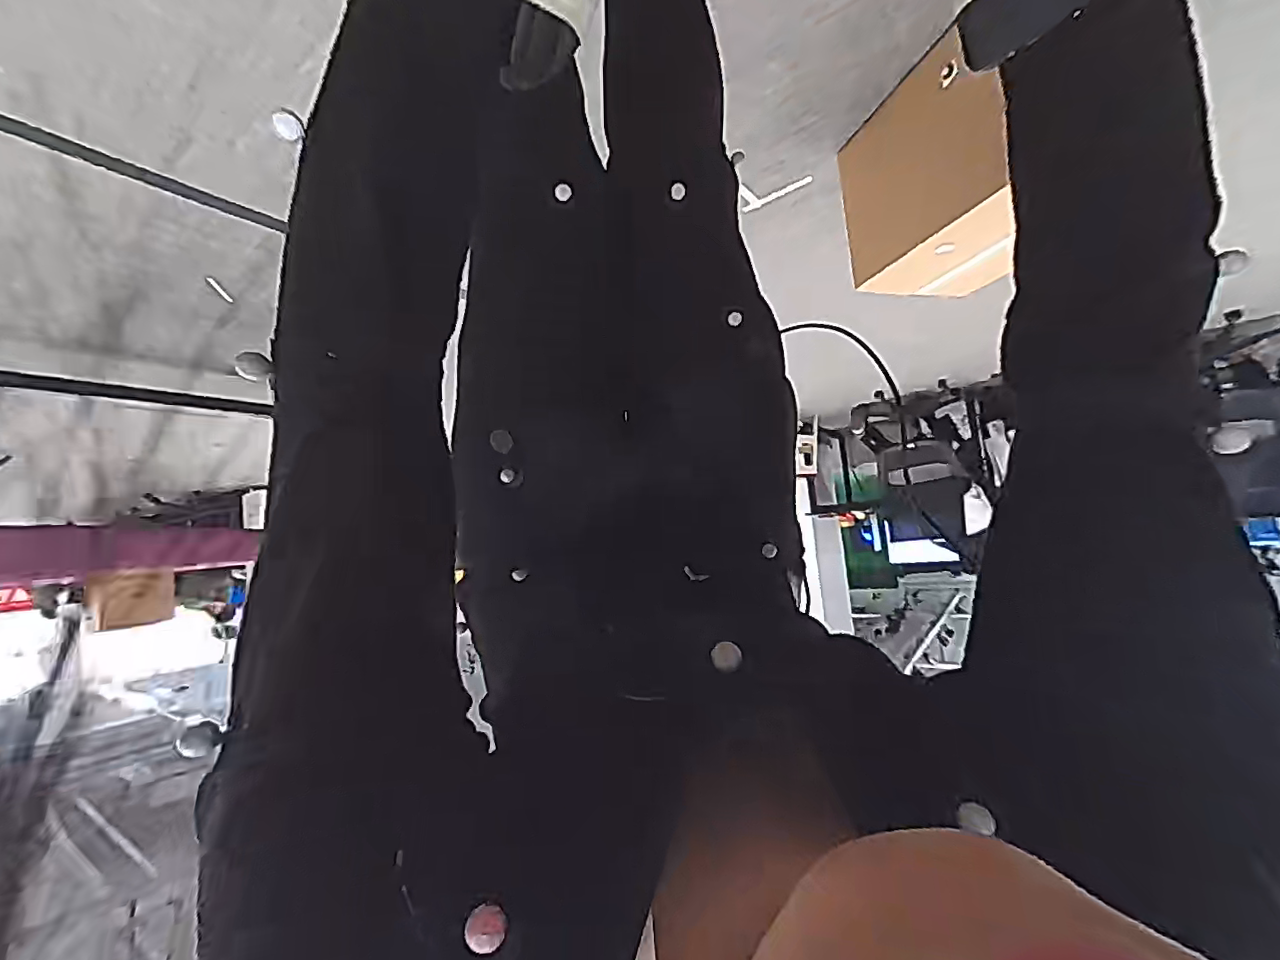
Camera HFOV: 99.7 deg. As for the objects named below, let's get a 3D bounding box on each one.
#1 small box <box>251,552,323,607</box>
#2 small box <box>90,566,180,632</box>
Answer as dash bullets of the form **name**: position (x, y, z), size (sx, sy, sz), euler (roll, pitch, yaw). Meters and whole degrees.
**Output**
- **small box**: position (-1.241, 0.345, 1.893), size (0.179, 0.176, 0.168), euler (-9, 174, 35)
- **small box**: position (-1.495, 0.346, 1.597), size (0.179, 0.176, 0.168), euler (-9, 173, 35)
